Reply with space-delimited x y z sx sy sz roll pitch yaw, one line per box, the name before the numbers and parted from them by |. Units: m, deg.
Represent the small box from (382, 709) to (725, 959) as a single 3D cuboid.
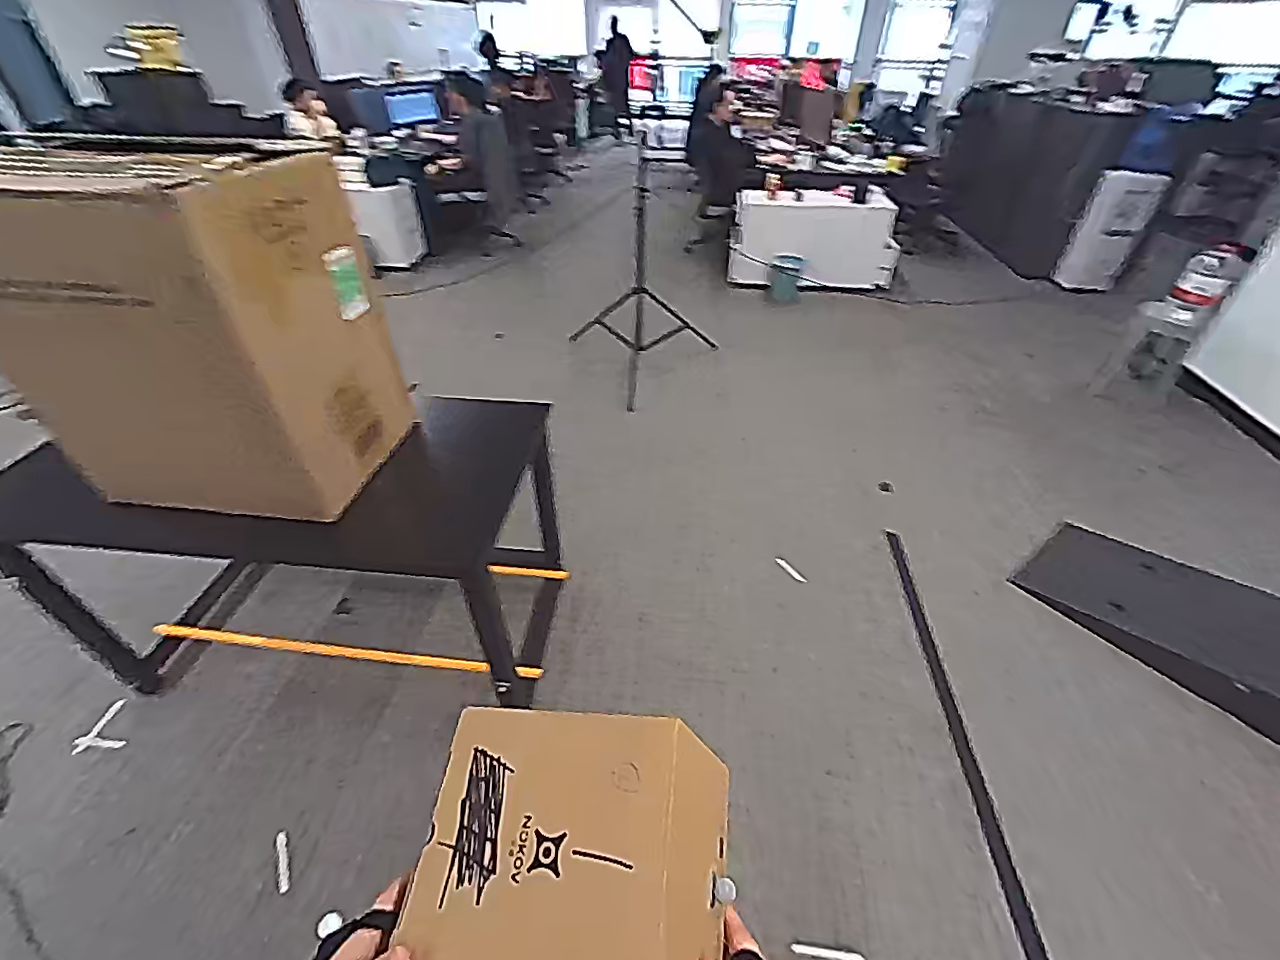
small box | -0.042 0.280 0.398 0.179 0.176 0.168 -6 51 18
